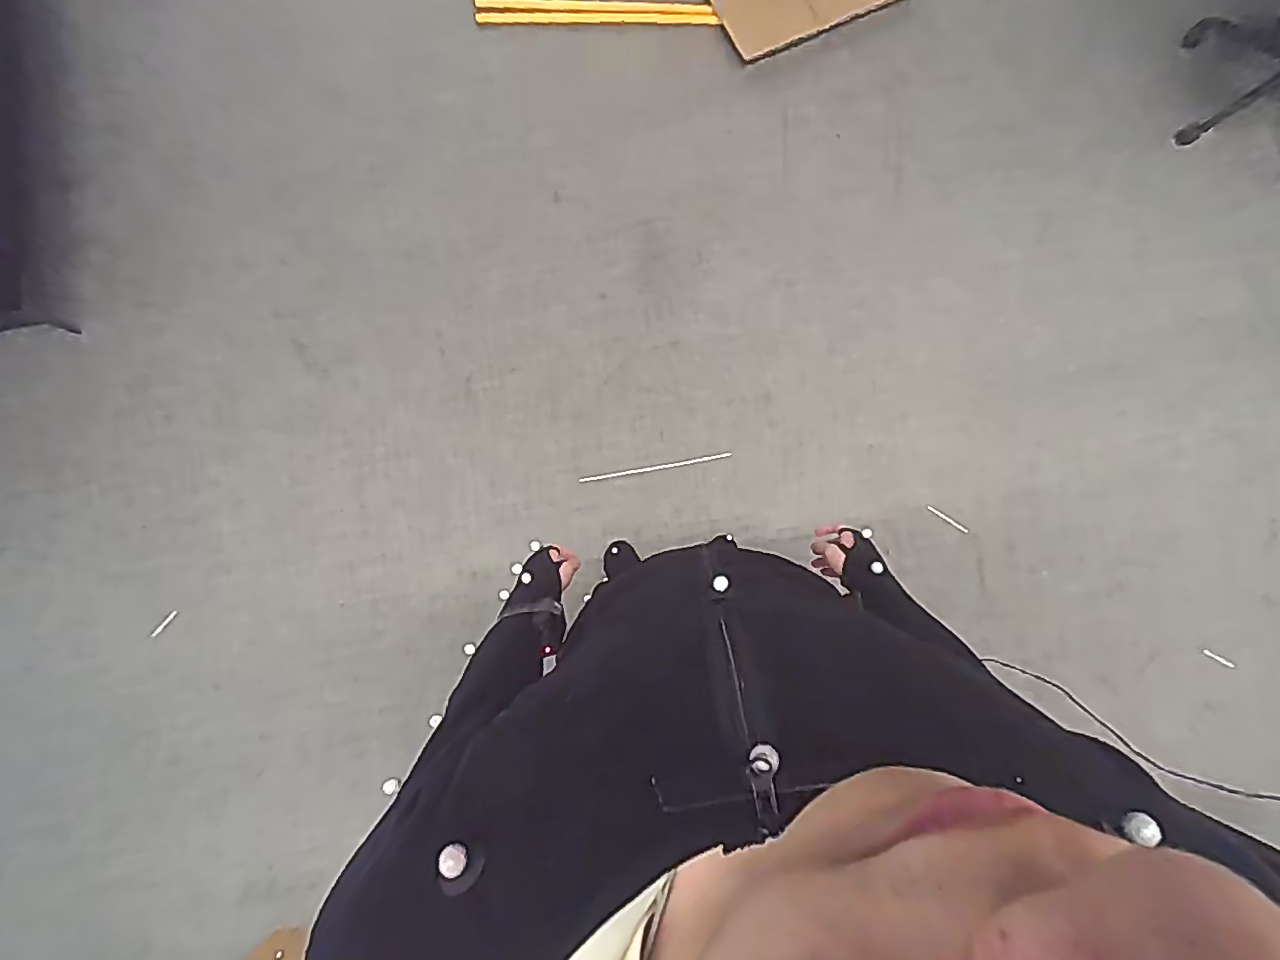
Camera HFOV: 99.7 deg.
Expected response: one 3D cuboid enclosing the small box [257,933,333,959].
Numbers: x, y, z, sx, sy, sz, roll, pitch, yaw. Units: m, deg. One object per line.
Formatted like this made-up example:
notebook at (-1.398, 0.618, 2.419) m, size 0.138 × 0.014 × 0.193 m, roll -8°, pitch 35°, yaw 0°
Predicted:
small box at (-0.929, 1.336, 1.417) m, size 0.179 × 0.176 × 0.168 m, roll -6°, pitch 83°, yaw -1°
